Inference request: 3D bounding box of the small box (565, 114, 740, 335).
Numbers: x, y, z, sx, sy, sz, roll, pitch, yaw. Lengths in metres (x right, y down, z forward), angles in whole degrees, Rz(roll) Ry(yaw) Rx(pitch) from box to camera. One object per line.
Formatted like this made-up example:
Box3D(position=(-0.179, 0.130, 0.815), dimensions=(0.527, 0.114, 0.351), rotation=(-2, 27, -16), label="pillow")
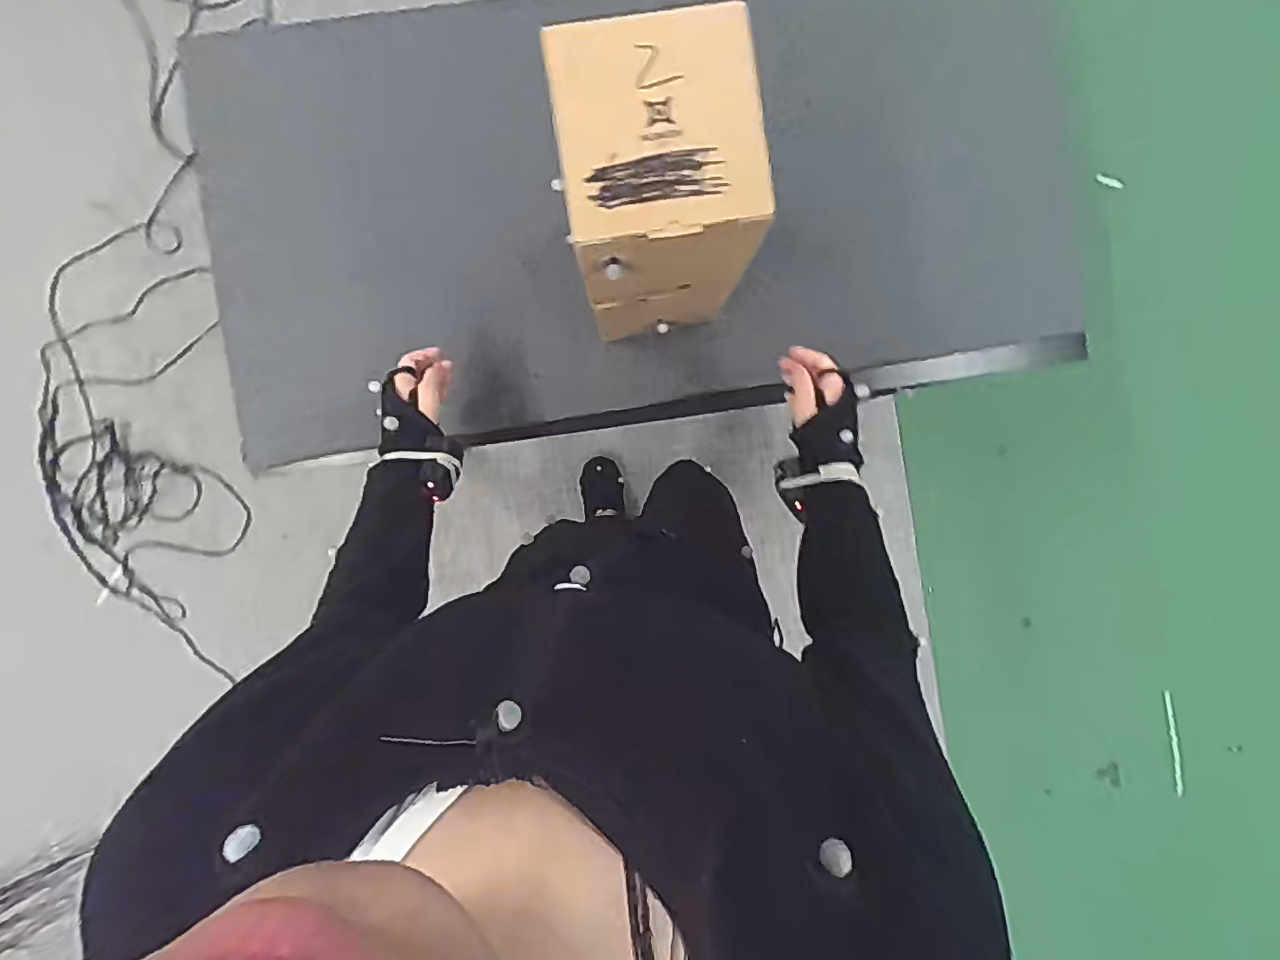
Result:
Box3D(position=(0.011, -0.297, 0.664), dimensions=(0.168, 0.176, 0.179), rotation=(-12, 92, -1), label="small box")
